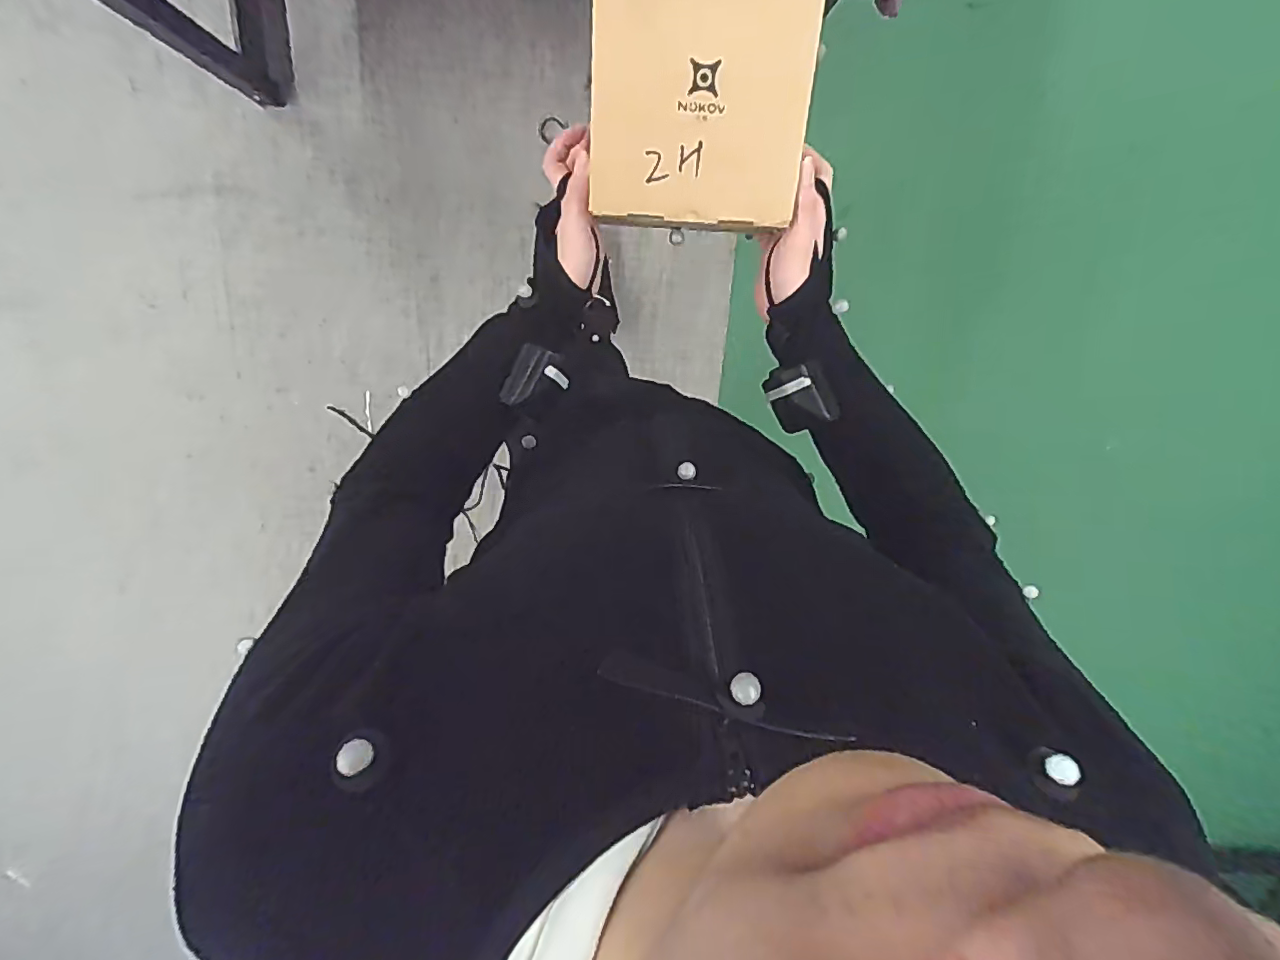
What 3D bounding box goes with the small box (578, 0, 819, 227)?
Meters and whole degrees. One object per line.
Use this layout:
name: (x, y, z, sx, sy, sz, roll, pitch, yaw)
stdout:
small box: (0.037, -0.322, 0.462, 0.168, 0.176, 0.179, 3, 113, -2)
